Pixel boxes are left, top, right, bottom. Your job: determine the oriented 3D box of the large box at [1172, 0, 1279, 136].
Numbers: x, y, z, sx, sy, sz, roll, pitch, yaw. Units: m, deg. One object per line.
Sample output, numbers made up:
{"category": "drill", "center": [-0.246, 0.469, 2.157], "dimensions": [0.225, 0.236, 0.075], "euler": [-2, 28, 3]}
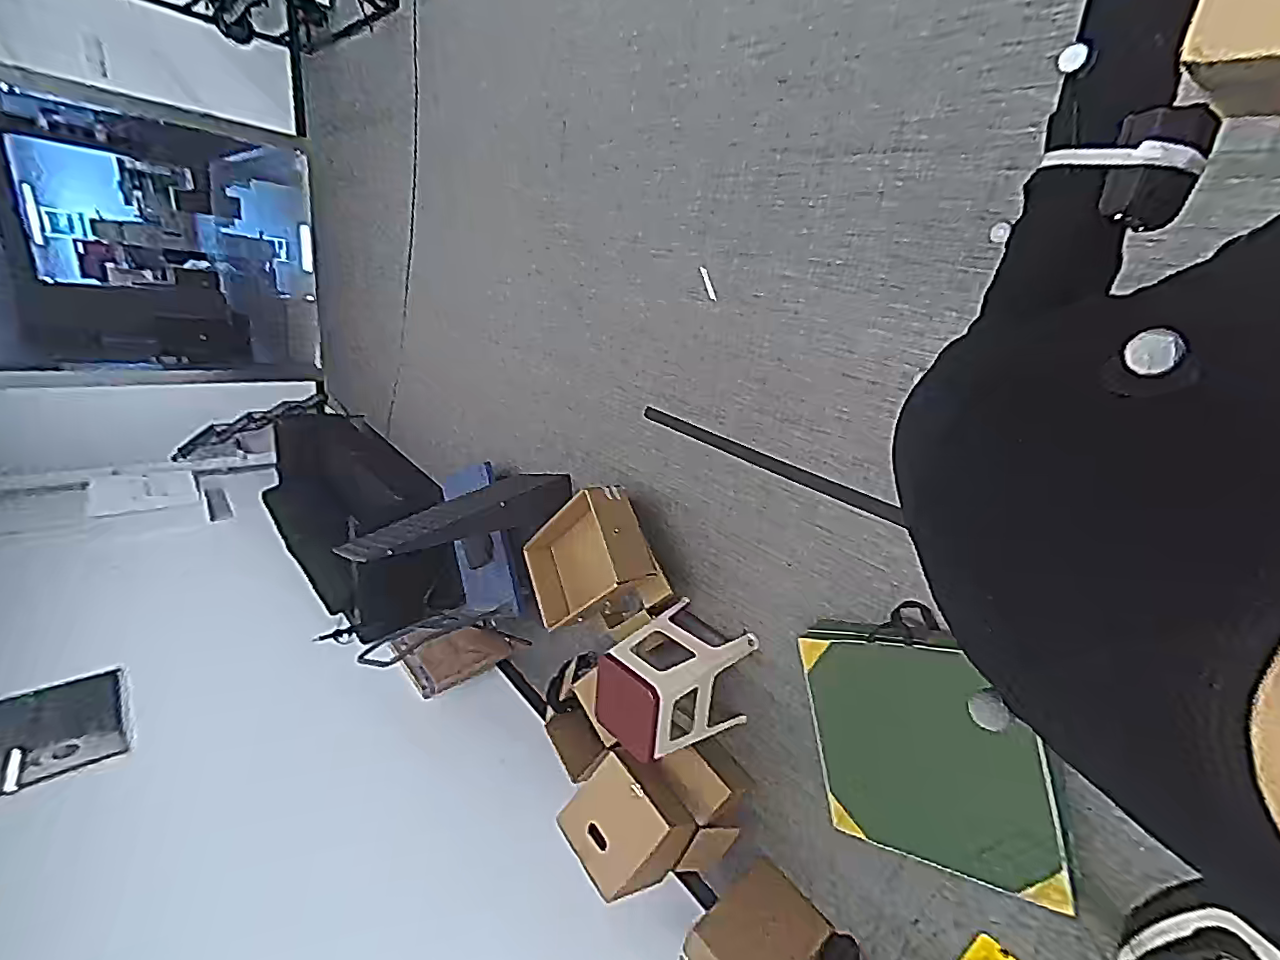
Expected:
{"category": "large box", "center": [0.583, -0.368, 0.248], "dimensions": [0.408, 0.320, 0.320], "euler": [26, 127, 39]}
